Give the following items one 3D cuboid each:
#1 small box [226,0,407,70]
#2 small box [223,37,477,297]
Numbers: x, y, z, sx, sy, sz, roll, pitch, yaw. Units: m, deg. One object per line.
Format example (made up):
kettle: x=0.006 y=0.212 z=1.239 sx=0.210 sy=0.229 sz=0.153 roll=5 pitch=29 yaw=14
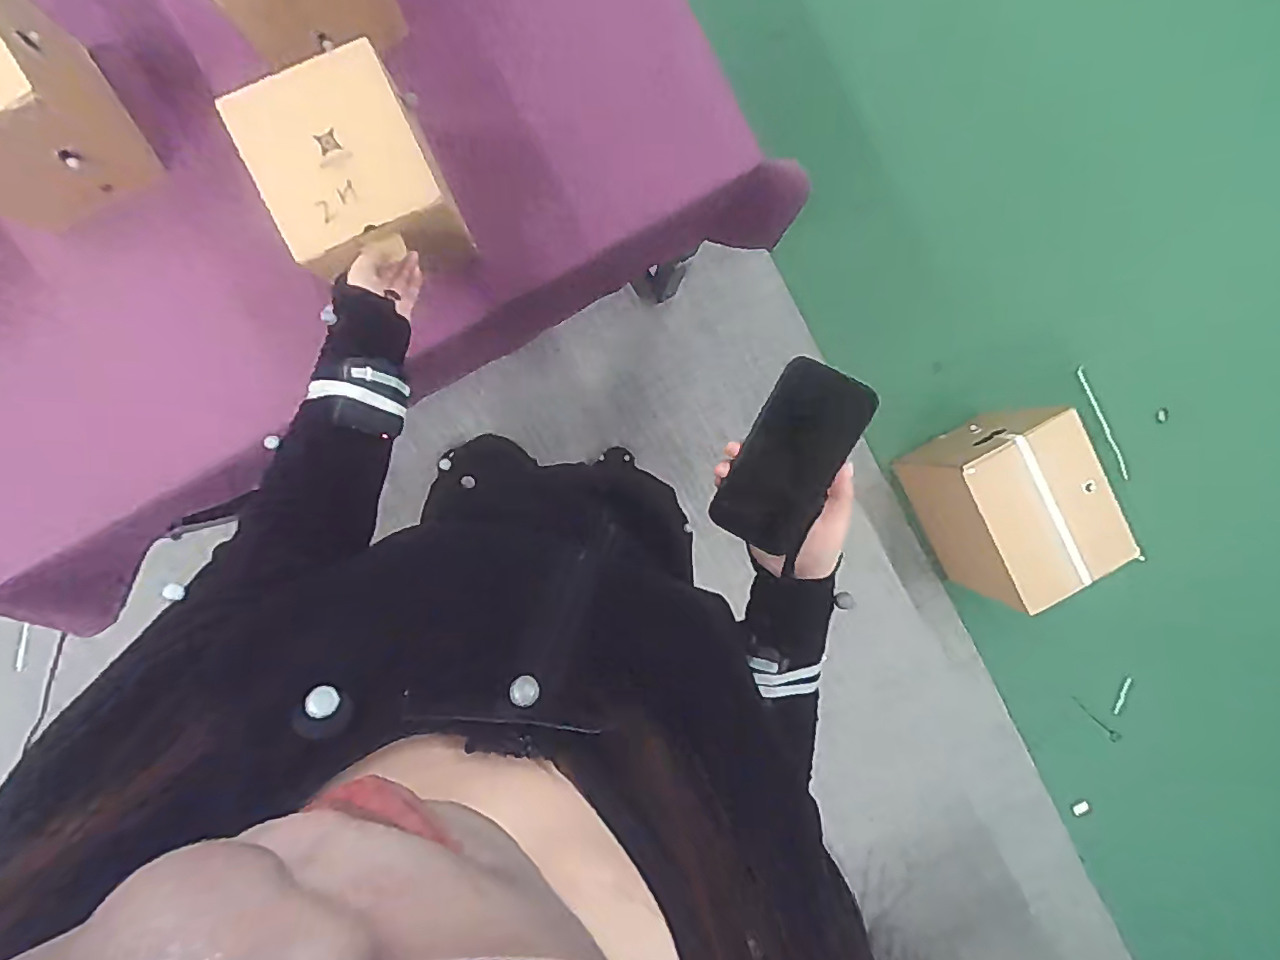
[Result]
small box: x=-0.398 y=-0.599 z=0.600 sx=0.168 sy=0.176 sz=0.179 roll=-32 pitch=97 yaw=-1
small box: x=-0.313 y=-0.341 z=0.626 sx=0.168 sy=0.176 sz=0.179 roll=-24 pitch=96 yaw=-1
